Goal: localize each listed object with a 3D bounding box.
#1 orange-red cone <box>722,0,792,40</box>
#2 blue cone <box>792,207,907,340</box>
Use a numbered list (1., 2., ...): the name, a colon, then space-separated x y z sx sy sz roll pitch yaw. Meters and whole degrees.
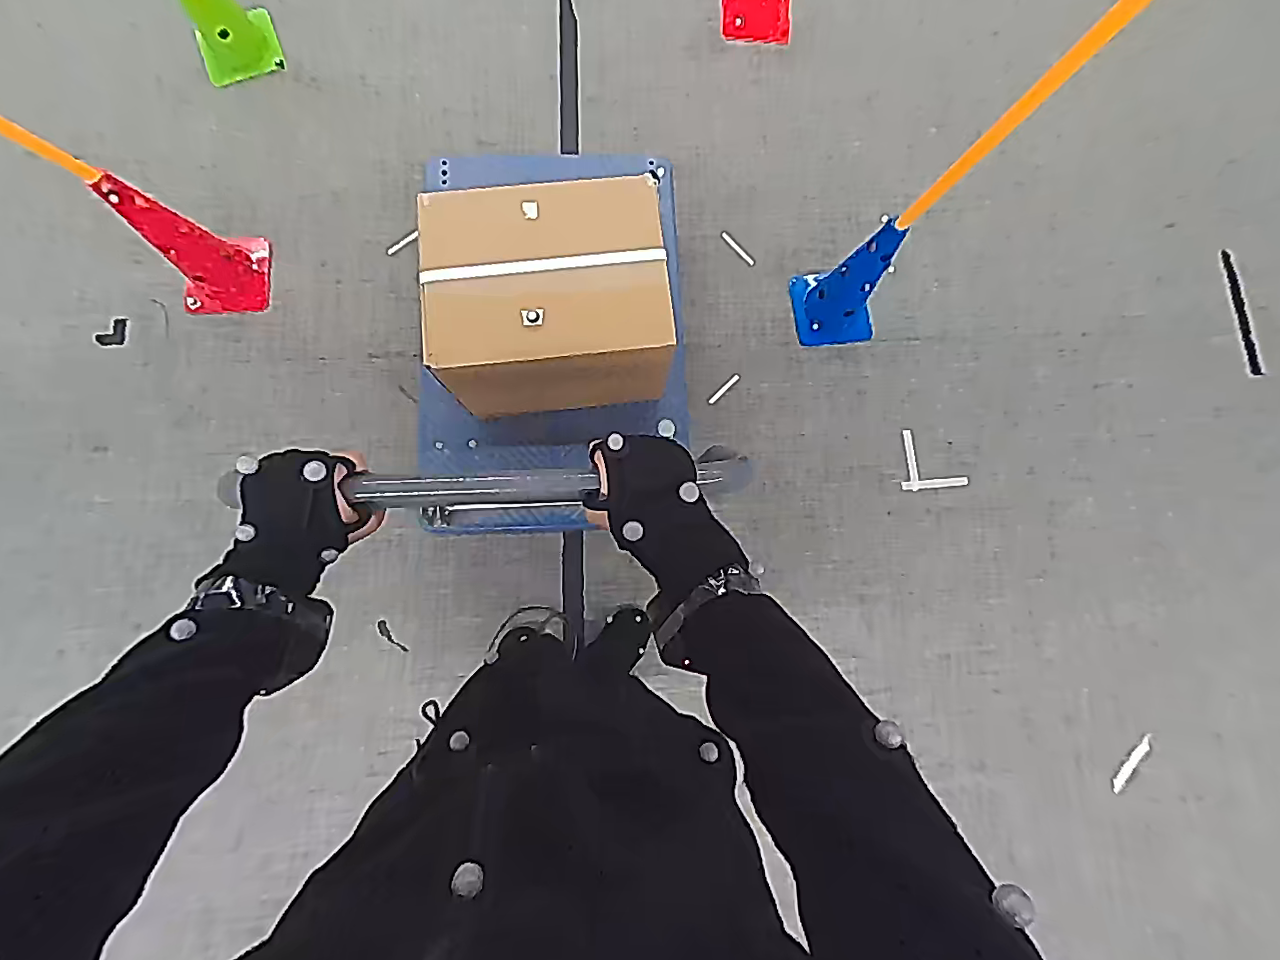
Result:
1. orange-red cone: 0.349 -1.378 1.379 0.199 0.360 0.198 5 82 -3
2. blue cone: 0.513 -0.490 1.264 0.193 0.380 0.192 -6 80 -4
